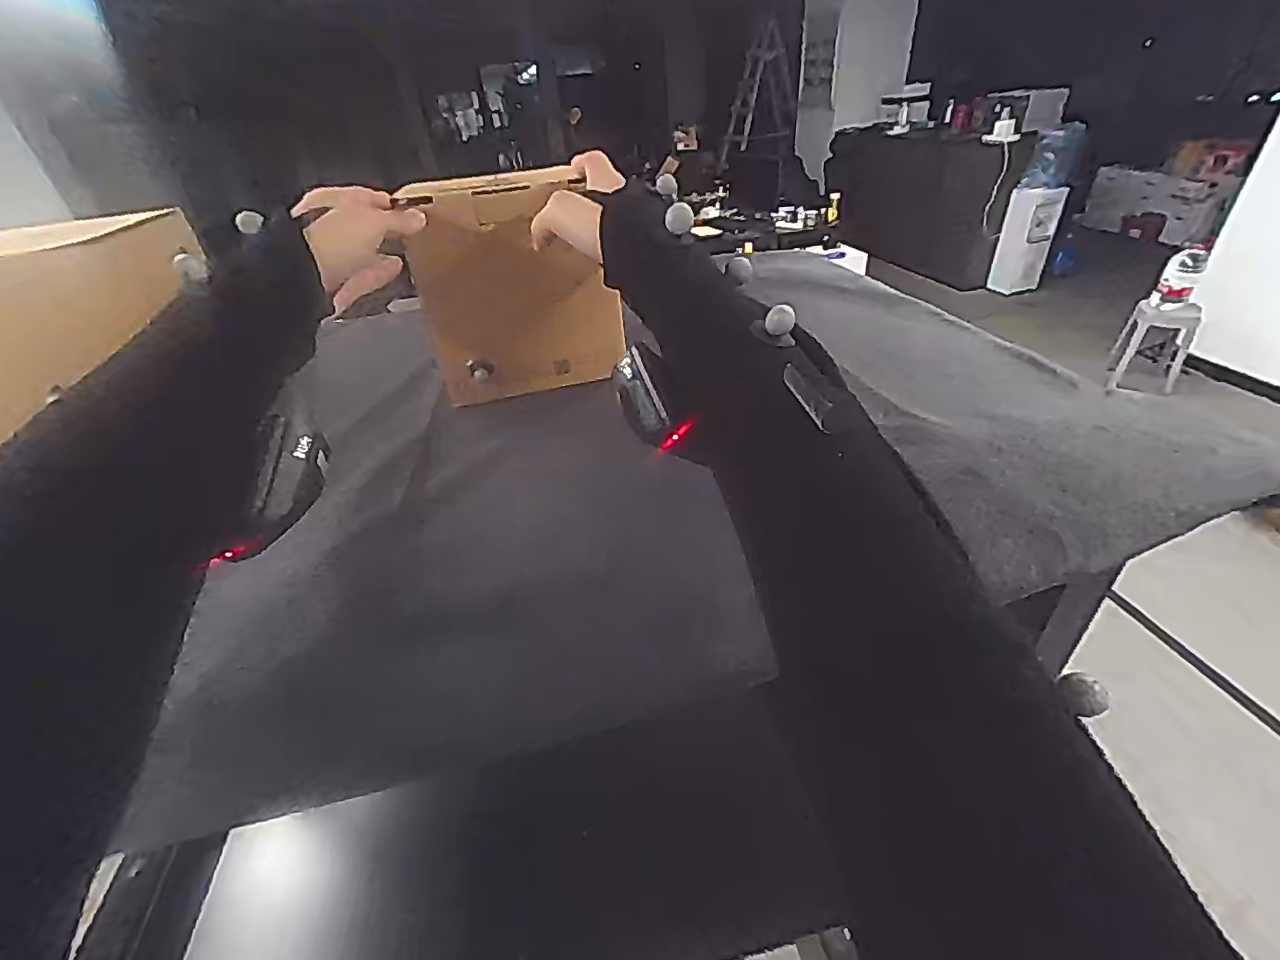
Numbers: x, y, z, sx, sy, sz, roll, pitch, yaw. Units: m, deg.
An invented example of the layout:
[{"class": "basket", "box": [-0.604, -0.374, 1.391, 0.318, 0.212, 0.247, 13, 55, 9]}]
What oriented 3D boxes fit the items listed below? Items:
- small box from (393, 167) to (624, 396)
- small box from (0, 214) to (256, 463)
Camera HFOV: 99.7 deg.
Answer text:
[{"class": "small box", "box": [-0.118, -0.192, 0.525, 0.168, 0.176, 0.179, -13, 34, -9]}, {"class": "small box", "box": [-0.507, -0.139, 0.512, 0.168, 0.176, 0.179, -13, 37, -9]}]
